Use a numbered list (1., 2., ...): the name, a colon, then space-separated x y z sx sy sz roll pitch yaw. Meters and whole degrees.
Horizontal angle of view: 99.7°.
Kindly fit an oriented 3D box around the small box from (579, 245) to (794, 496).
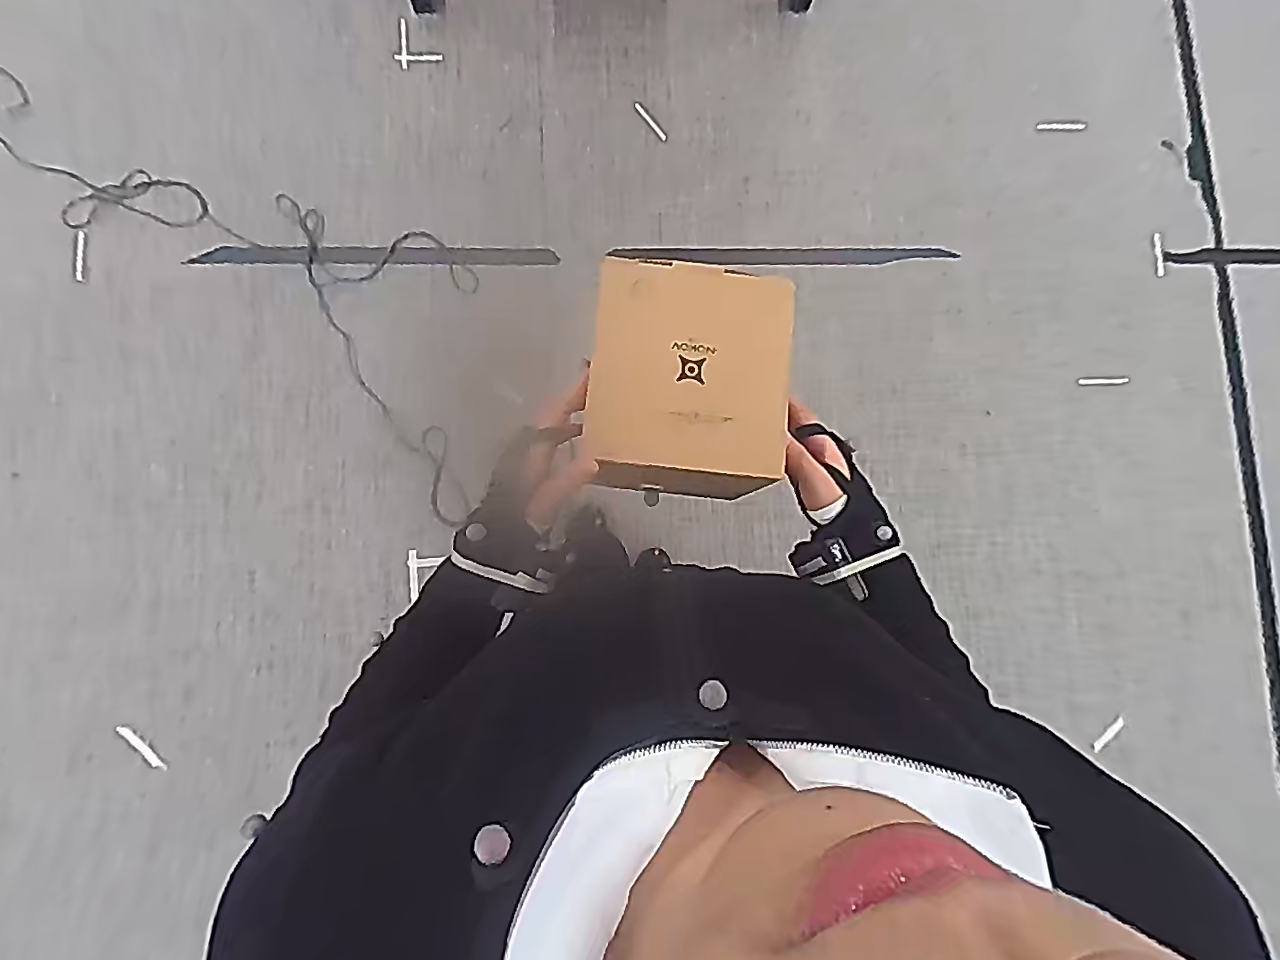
1. small box: 0.035 -0.088 0.513 0.168 0.176 0.179 6 82 -3
